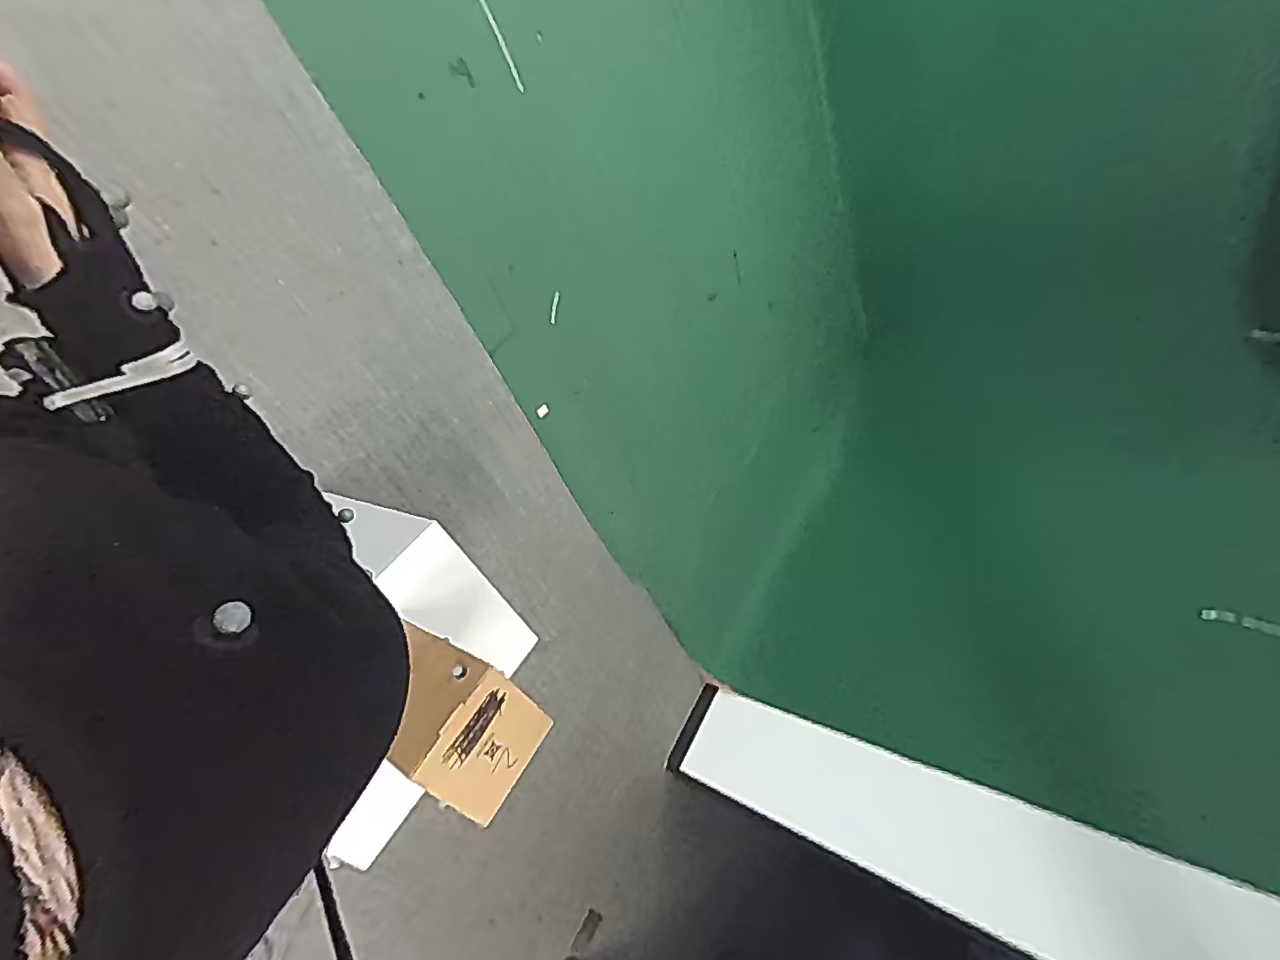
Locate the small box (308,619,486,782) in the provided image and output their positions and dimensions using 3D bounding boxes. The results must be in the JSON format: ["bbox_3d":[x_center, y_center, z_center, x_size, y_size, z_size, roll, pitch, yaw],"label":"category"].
[{"bbox_3d":[-0.402,0.357,0.904,0.168,0.176,0.179,-53,132,-33],"label":"small box"}]
